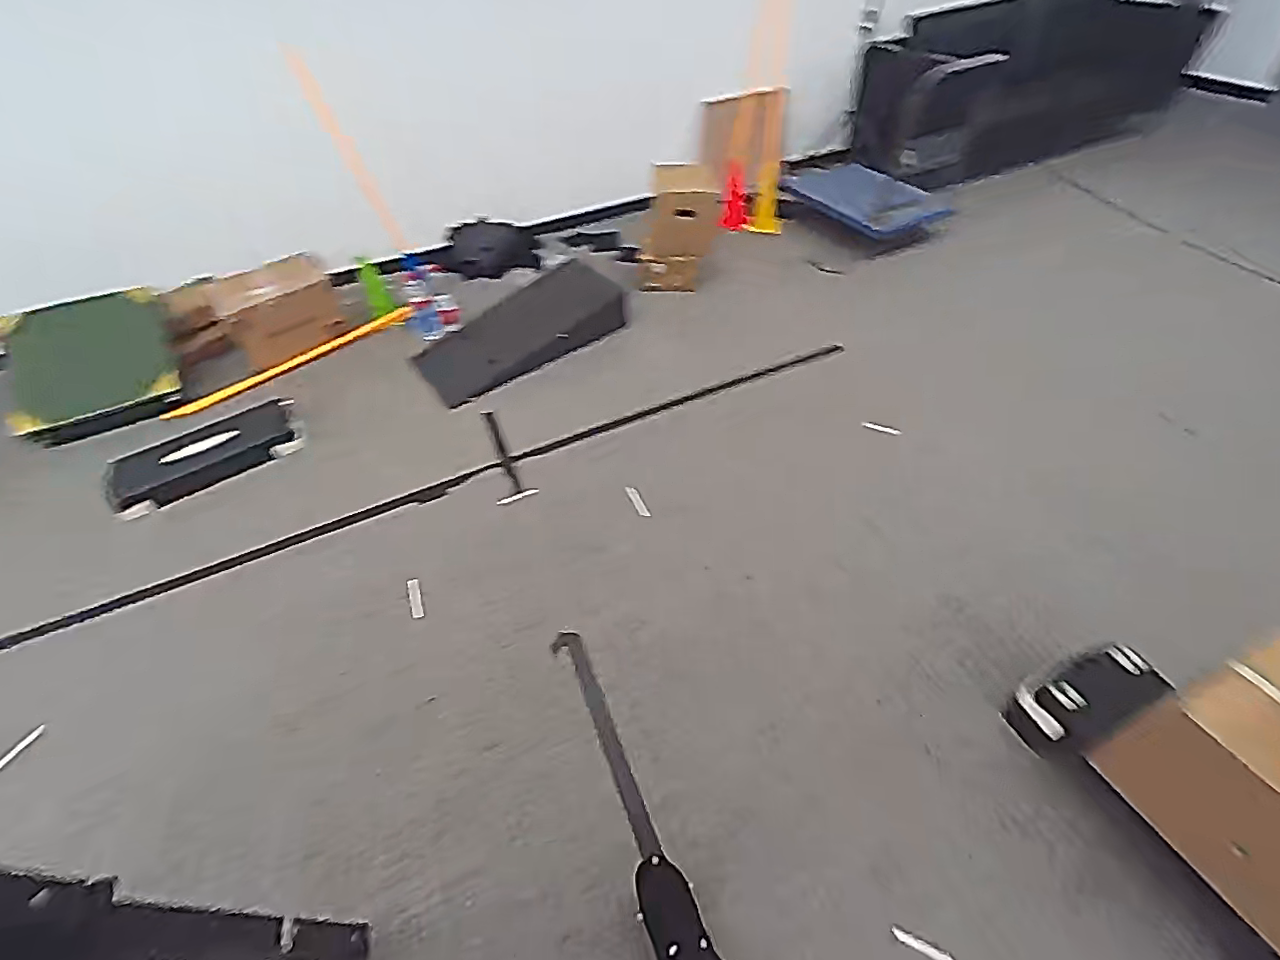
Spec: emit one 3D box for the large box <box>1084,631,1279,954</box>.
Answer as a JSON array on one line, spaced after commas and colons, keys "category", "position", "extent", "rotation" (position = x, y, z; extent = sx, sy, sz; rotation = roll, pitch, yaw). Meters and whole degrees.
[{"category": "large box", "position": [1.149, 0.562, 0.955], "extent": [0.320, 0.320, 0.408], "rotation": [-22, 49, -16]}]
